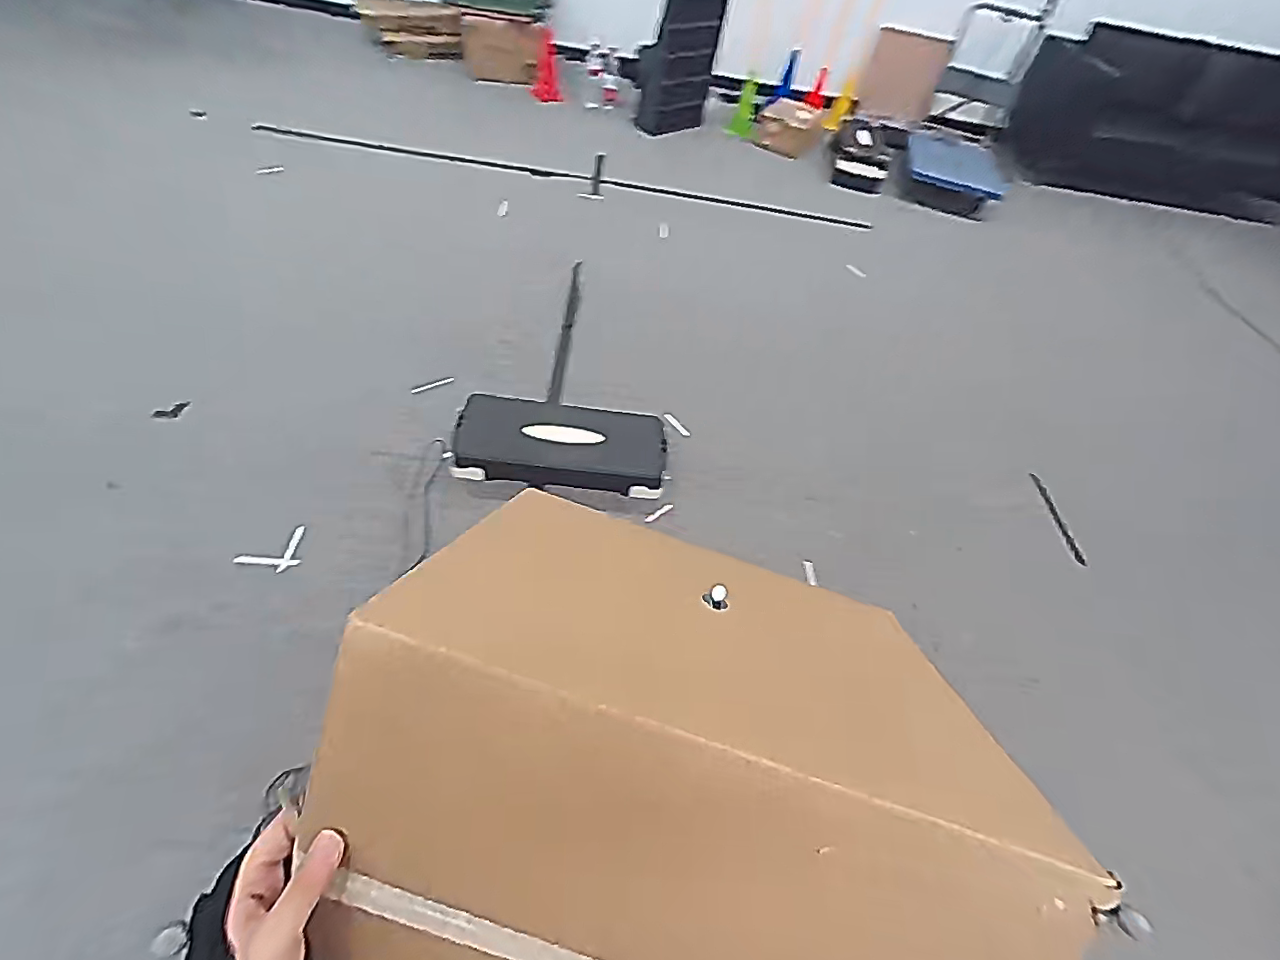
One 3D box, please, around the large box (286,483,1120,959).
[{"bbox_3d":[0.015,0.224,0.444,0.408,0.320,0.320,18,13,1],"label":"large box"}]
